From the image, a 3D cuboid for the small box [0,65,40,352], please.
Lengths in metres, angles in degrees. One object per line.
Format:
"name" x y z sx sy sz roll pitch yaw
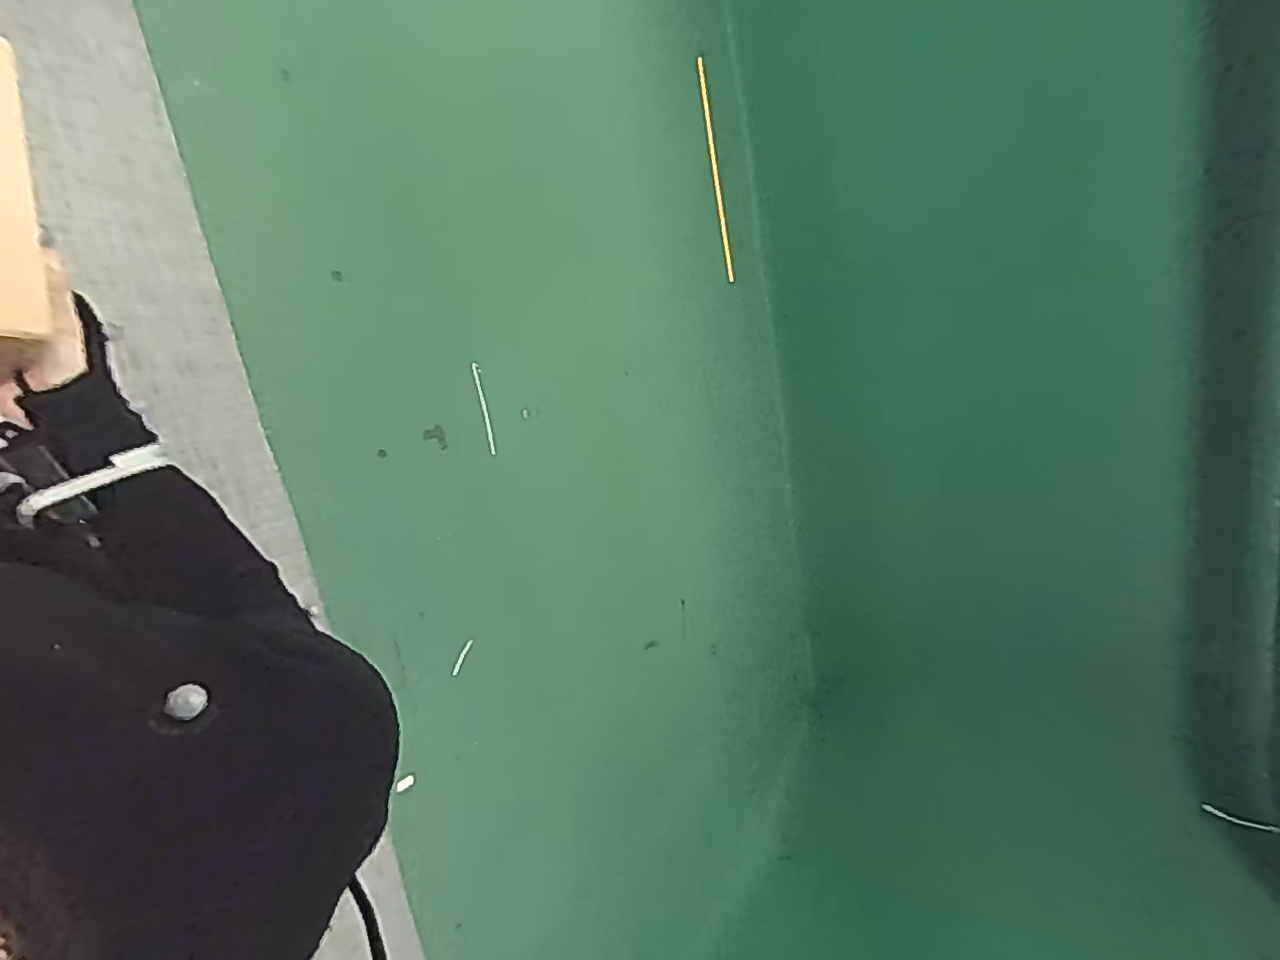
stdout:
"small box" -0.461 -0.153 0.267 0.168 0.176 0.179 -10 91 -66
